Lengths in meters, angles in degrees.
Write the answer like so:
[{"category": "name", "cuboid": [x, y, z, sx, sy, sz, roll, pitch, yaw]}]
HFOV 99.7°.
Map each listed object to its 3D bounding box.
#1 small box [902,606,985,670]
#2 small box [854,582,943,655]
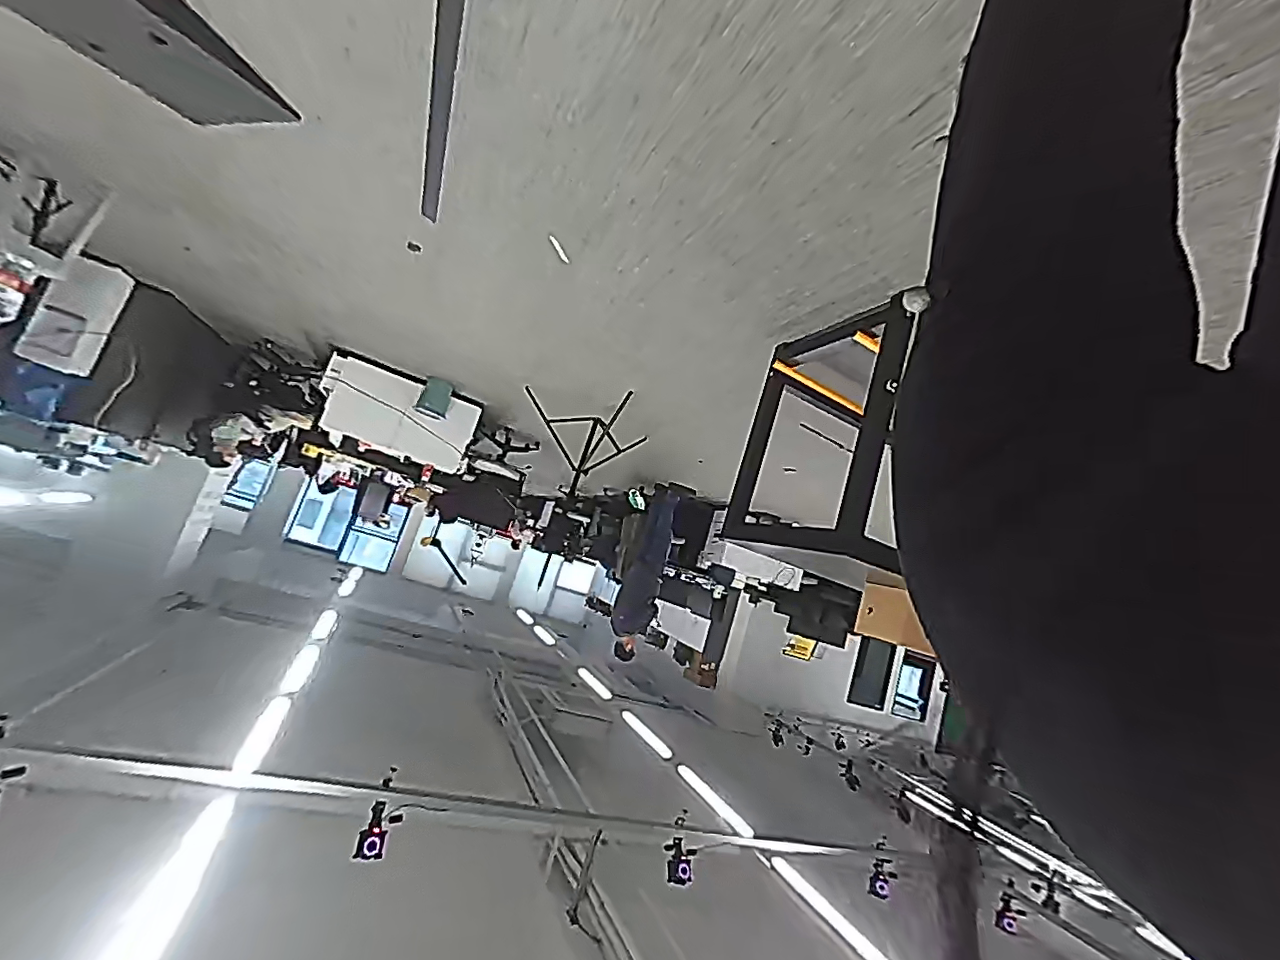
[{"category": "small box", "cuboid": [1.002, 0.504, 1.776, 0.168, 0.176, 0.179, 22, 170, -22]}, {"category": "small box", "cuboid": [0.810, 0.425, 1.689, 0.168, 0.176, 0.179, 21, 170, -23]}]
